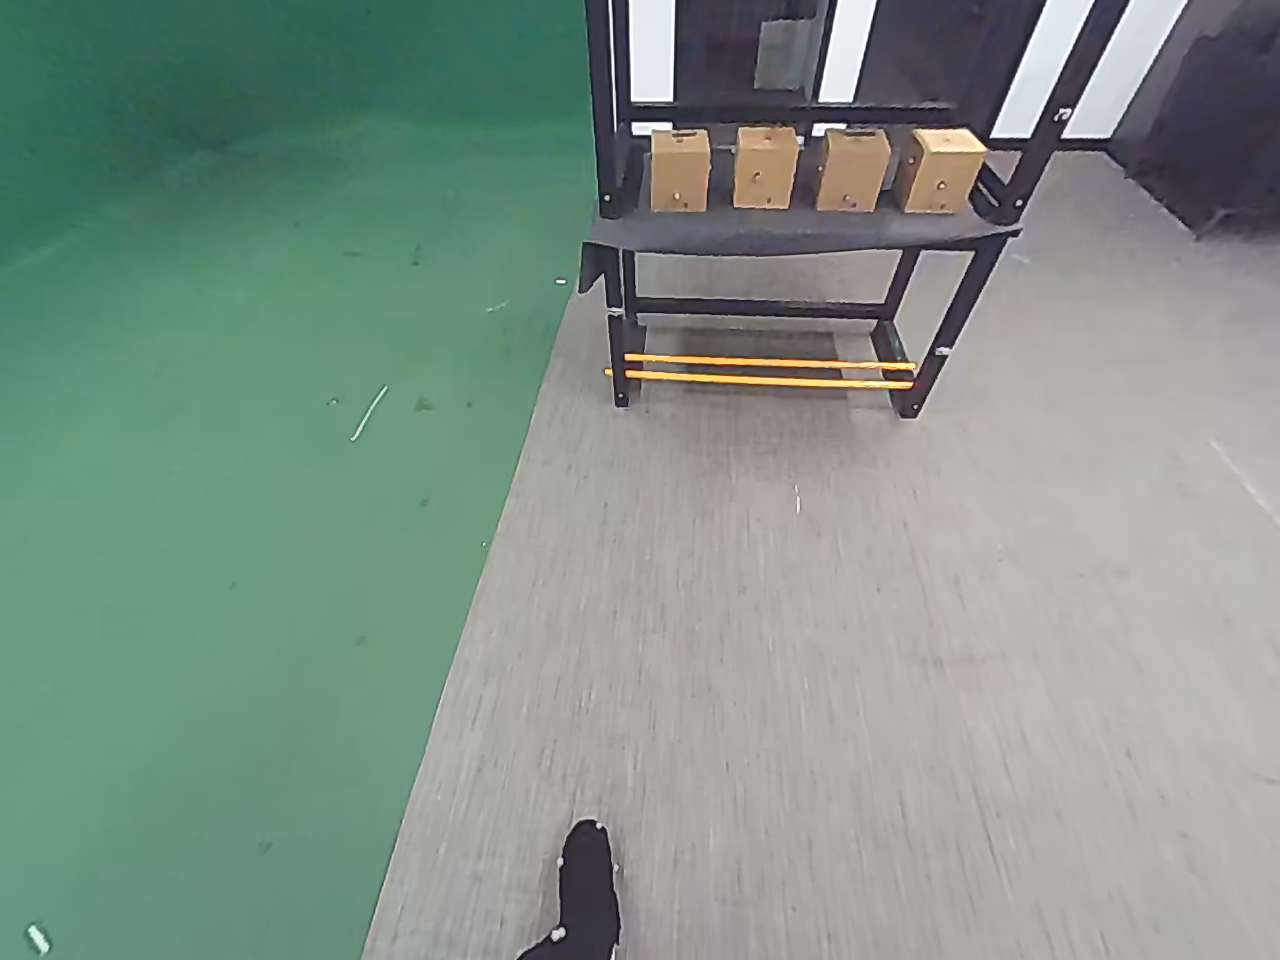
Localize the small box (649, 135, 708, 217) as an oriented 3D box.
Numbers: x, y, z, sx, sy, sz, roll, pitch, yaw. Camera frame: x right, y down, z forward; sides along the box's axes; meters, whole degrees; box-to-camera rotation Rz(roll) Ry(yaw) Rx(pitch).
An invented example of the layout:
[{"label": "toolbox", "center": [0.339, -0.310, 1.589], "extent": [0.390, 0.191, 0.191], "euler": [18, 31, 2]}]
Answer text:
[{"label": "small box", "center": [0.110, -0.912, 1.621], "extent": [0.168, 0.176, 0.179], "euler": [0, 50, 1]}]

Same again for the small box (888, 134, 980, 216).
[{"label": "small box", "center": [0.853, -0.893, 1.585], "extent": [0.168, 0.176, 0.179], "euler": [3, 49, 3]}]

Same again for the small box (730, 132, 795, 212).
[{"label": "small box", "center": [0.363, -0.926, 1.630], "extent": [0.168, 0.176, 0.179], "euler": [3, 49, 4]}]
